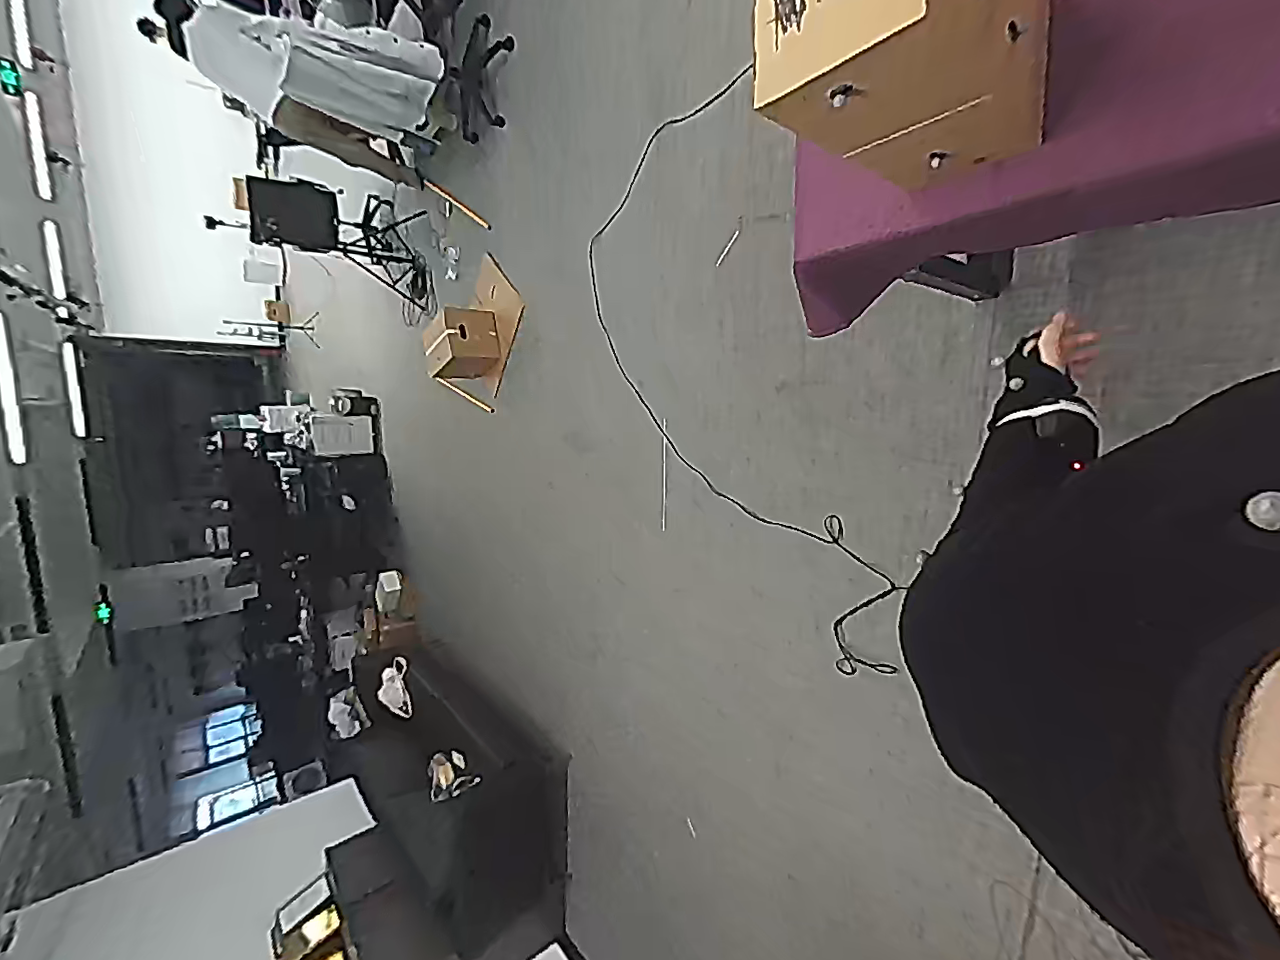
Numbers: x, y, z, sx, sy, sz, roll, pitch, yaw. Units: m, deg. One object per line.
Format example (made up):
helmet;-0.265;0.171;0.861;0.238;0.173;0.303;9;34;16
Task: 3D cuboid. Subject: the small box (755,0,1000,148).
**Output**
small box;0.238;-0.472;0.547;0.179;0.176;0.168;7;100;49

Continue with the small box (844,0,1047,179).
small box;0.365;-0.487;0.650;0.168;0.176;0.179;7;100;49
